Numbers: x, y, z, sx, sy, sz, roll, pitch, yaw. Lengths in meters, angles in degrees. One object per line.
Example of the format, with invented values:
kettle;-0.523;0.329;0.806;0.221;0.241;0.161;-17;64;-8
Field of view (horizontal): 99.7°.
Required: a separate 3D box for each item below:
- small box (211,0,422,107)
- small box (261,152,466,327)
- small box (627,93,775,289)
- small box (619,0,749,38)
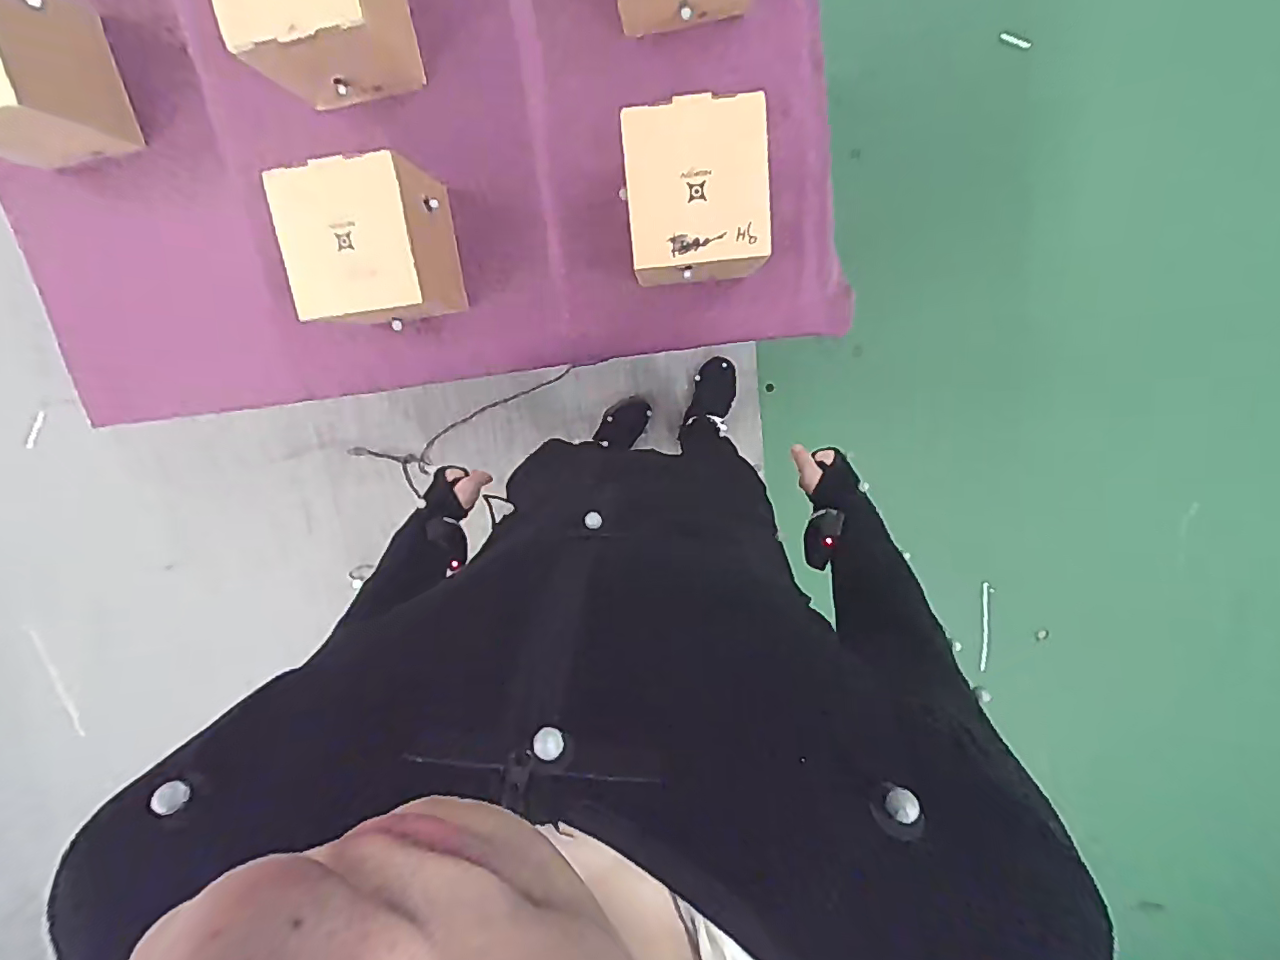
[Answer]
small box;-0.391;-0.593;0.652;0.168;0.176;0.179;-9;105;3
small box;-0.352;-0.307;0.725;0.168;0.176;0.179;-6;104;4
small box;0.074;-0.355;0.698;0.168;0.176;0.179;-4;102;4
small box;0.044;-0.661;0.617;0.168;0.176;0.179;-7;105;6
